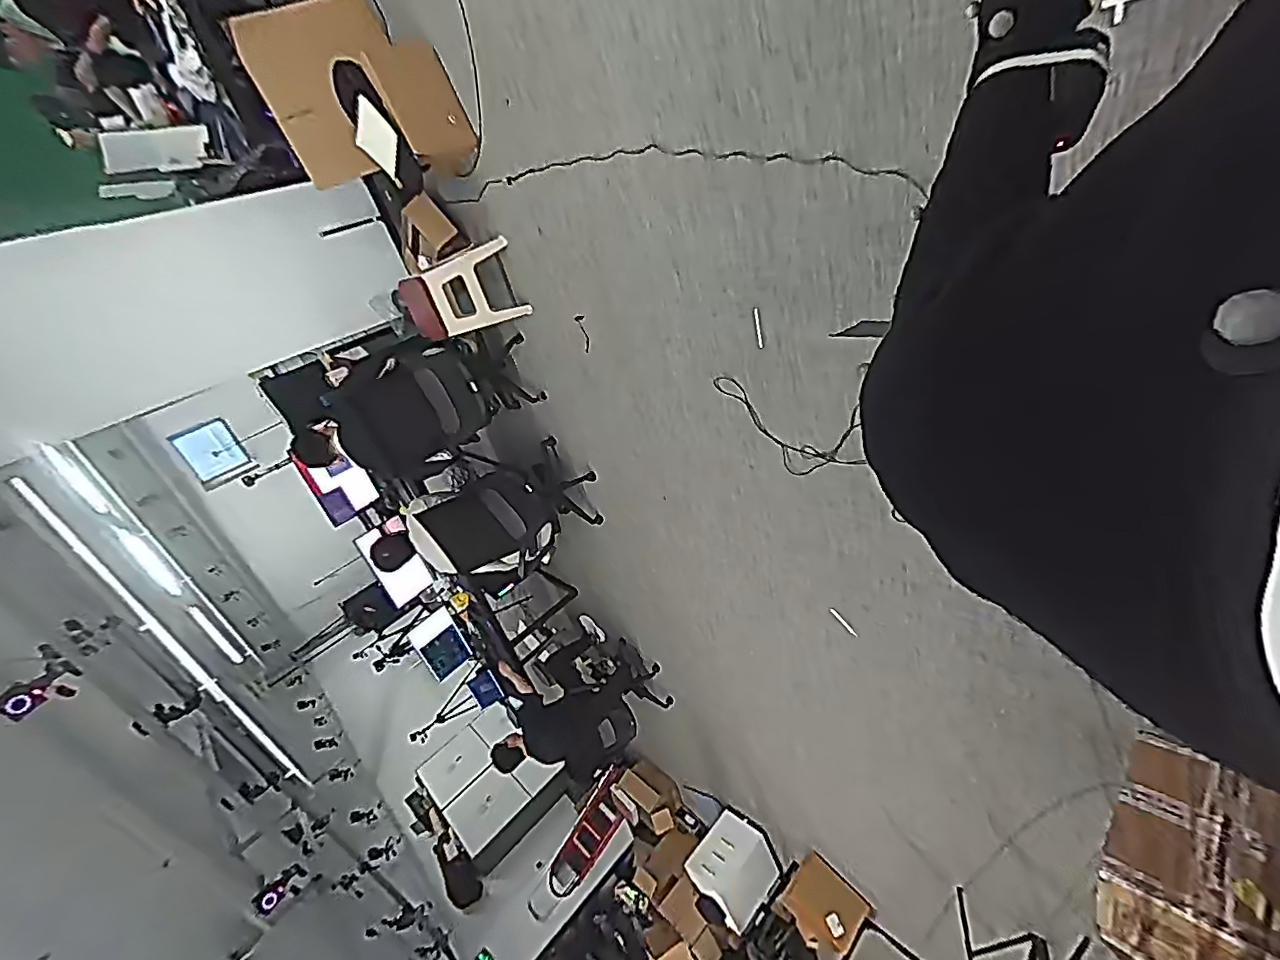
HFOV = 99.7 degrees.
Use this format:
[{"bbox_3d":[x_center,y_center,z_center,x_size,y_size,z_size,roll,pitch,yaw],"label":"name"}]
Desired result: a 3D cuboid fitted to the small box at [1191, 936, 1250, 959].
[{"bbox_3d":[1.331,1.183,1.194,0.168,0.176,0.179,11,125,47],"label":"small box"}]
